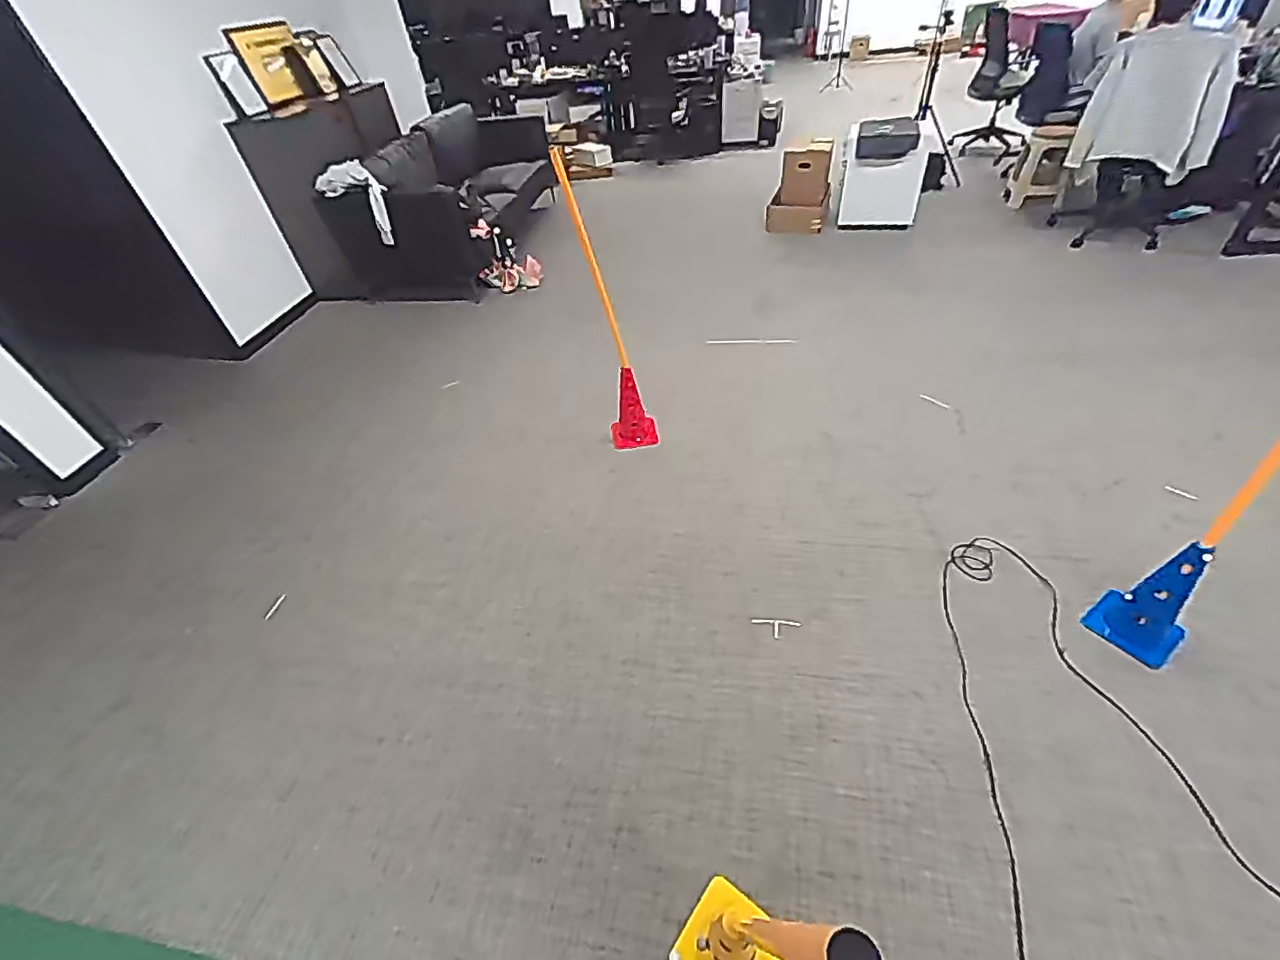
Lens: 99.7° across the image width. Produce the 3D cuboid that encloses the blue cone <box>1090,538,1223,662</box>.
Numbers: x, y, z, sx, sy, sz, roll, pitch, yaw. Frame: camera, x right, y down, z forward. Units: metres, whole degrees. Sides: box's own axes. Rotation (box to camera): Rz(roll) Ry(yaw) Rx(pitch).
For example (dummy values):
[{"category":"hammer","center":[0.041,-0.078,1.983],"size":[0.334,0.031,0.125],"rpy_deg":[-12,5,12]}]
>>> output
[{"category":"blue cone","center":[1.424,0.293,1.460],"size":[0.193,0.380,0.192],"rpy_deg":[-28,45,-24]}]
